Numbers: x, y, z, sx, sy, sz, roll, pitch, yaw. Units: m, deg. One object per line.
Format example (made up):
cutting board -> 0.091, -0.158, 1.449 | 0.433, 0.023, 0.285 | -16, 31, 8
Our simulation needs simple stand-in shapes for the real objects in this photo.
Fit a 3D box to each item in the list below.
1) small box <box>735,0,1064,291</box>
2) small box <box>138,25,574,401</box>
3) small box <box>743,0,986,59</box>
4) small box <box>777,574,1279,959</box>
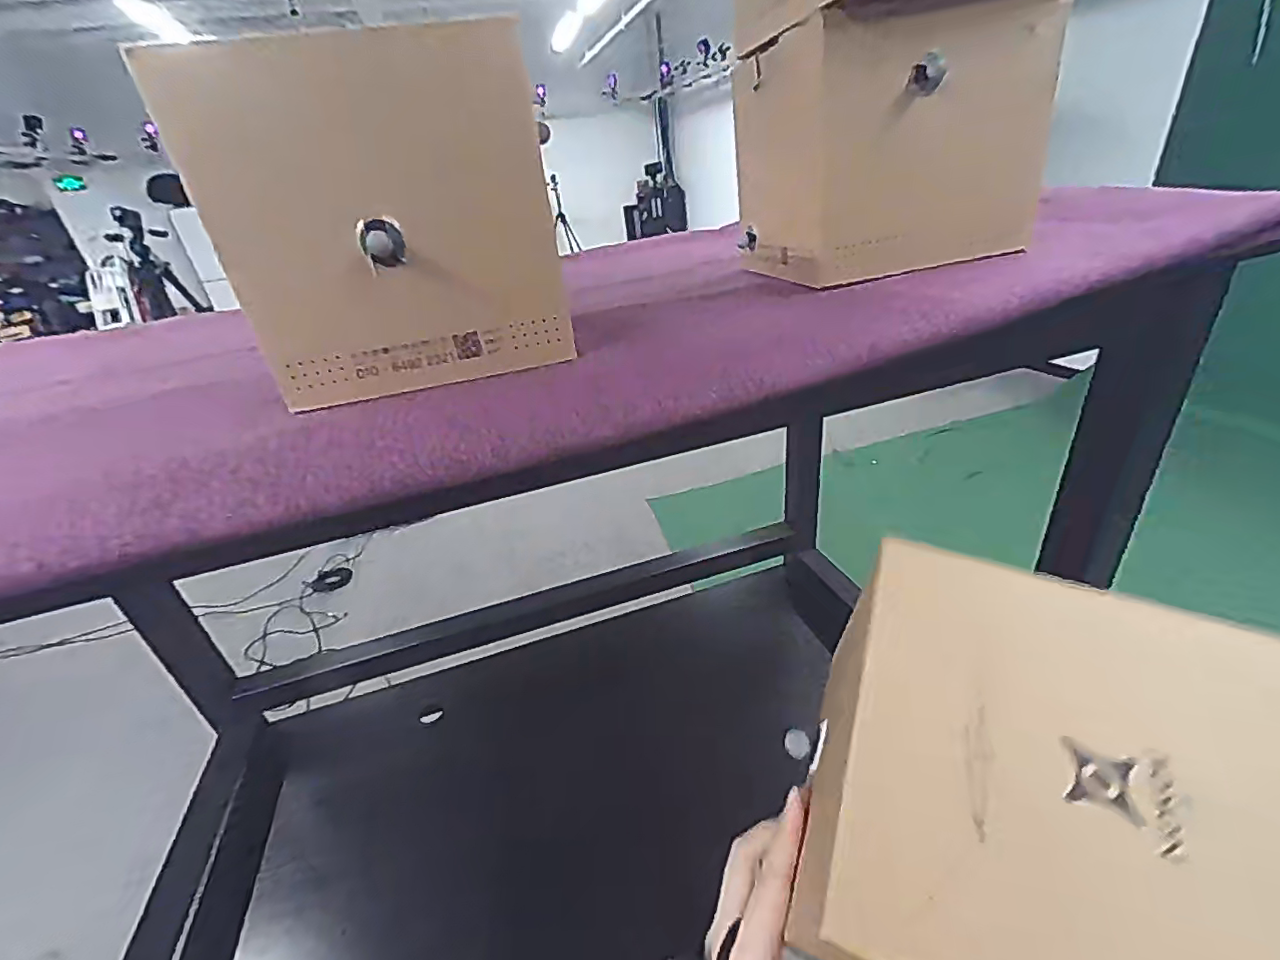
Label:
small box -> 0.192, -0.260, 0.443 | 0.179, 0.176, 0.168 | -12, 28, -6
small box -> -0.144, -0.159, 0.348 | 0.168, 0.176, 0.179 | -12, 30, -10
small box -> 0.171, -0.395, 0.353 | 0.179, 0.176, 0.168 | -14, 29, -10
small box -> 0.175, 0.176, 0.260 | 0.179, 0.176, 0.168 | 13, 51, 19
